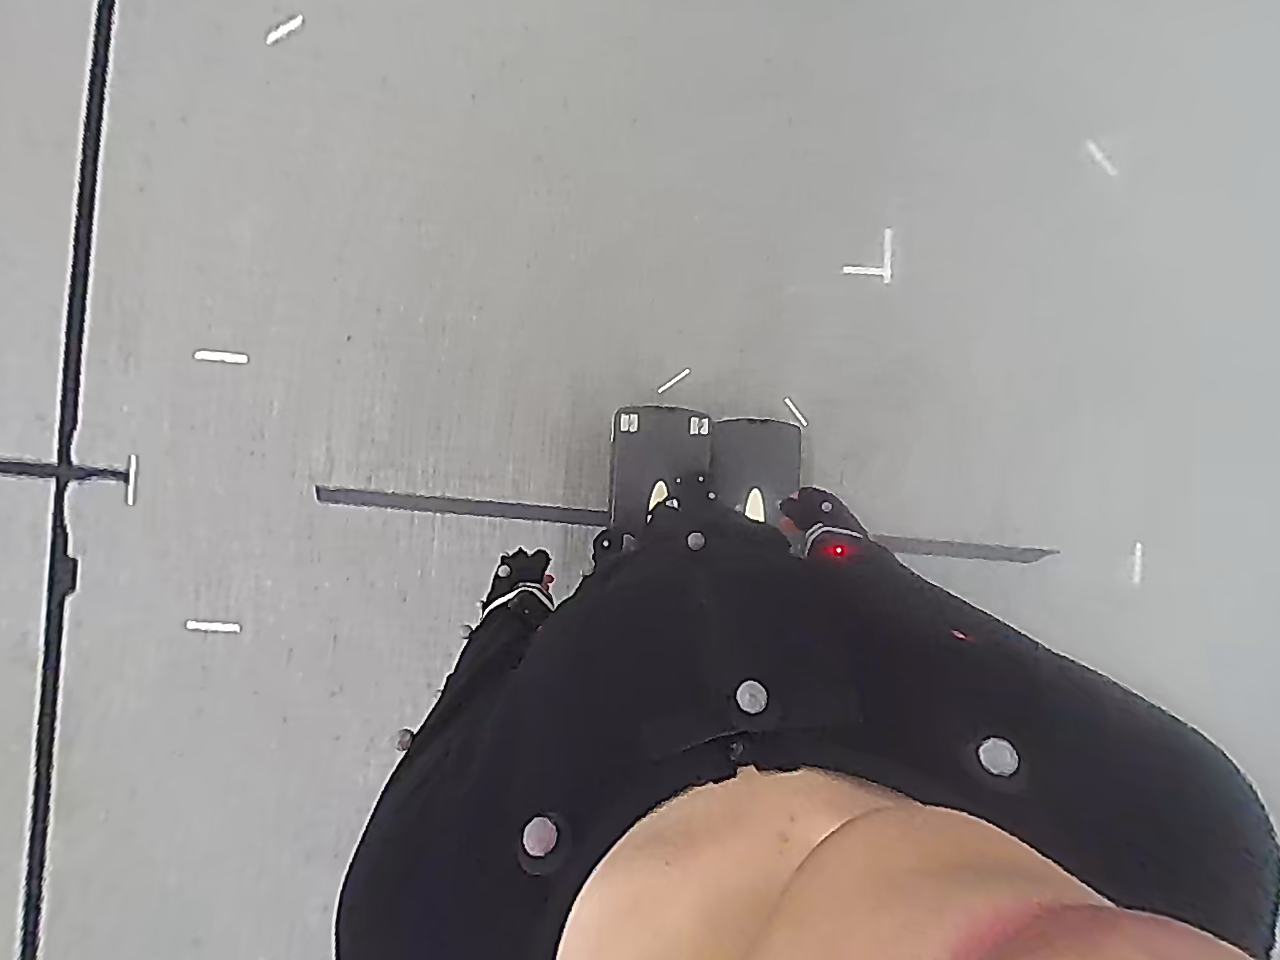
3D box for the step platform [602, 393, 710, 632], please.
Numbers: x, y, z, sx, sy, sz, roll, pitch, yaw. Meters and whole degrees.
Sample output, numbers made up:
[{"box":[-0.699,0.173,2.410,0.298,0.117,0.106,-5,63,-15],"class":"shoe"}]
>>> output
[{"box":[0.043,0.091,1.581,0.286,0.204,0.684,2,88,-3],"class":"step platform"}]
